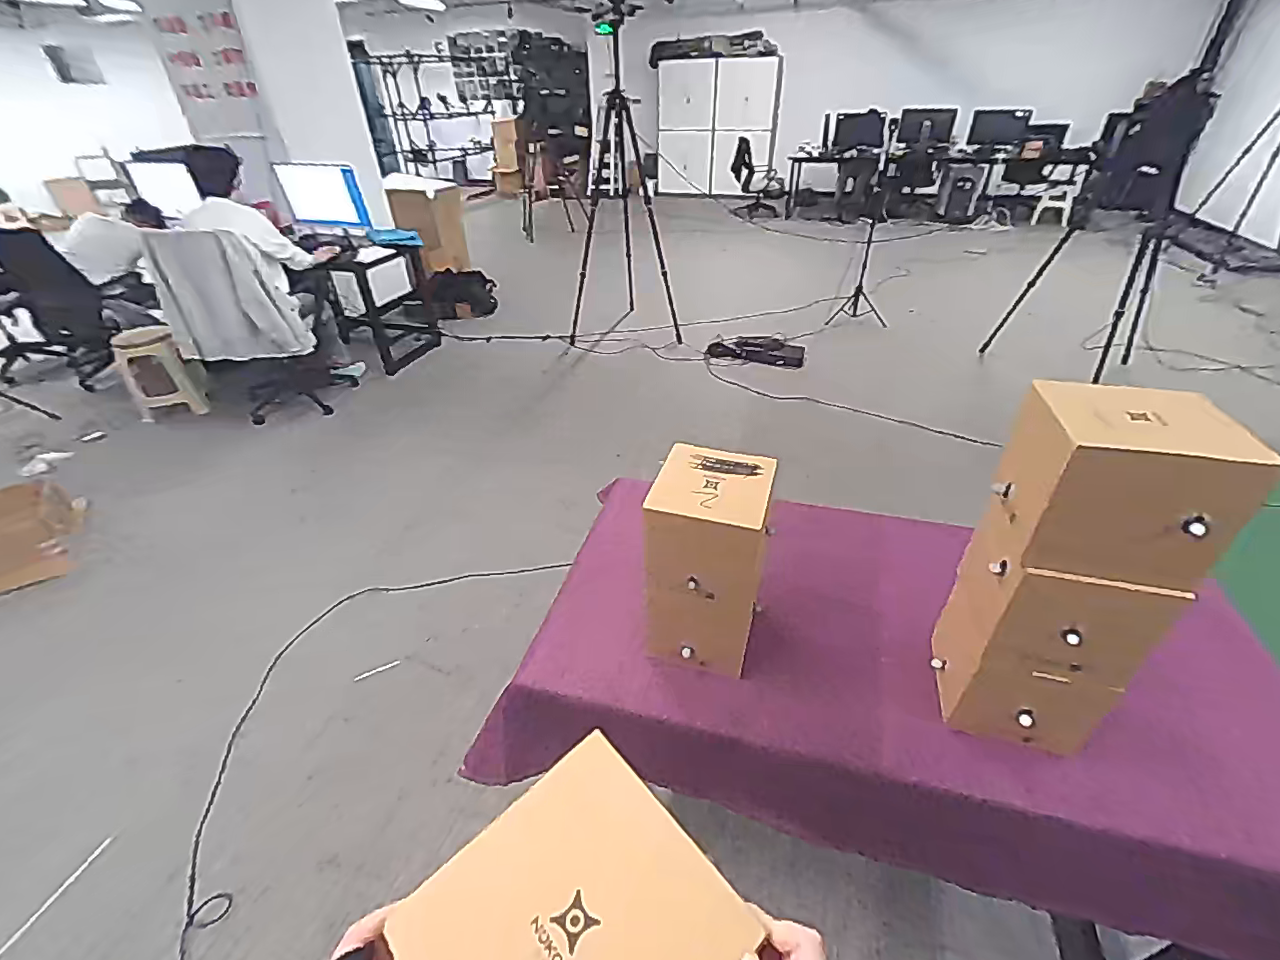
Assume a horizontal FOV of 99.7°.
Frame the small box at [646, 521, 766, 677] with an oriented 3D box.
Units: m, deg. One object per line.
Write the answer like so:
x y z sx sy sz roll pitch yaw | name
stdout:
0.112 0.202 0.929 0.168 0.176 0.179 10 38 16 | small box

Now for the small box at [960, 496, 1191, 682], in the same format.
0.552 0.137 0.719 0.168 0.176 0.179 9 37 14 | small box

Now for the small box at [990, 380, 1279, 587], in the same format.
0.545 0.001 0.629 0.179 0.176 0.168 8 36 15 | small box

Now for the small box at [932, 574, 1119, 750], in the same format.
0.560 0.271 0.816 0.168 0.176 0.179 9 38 14 | small box
